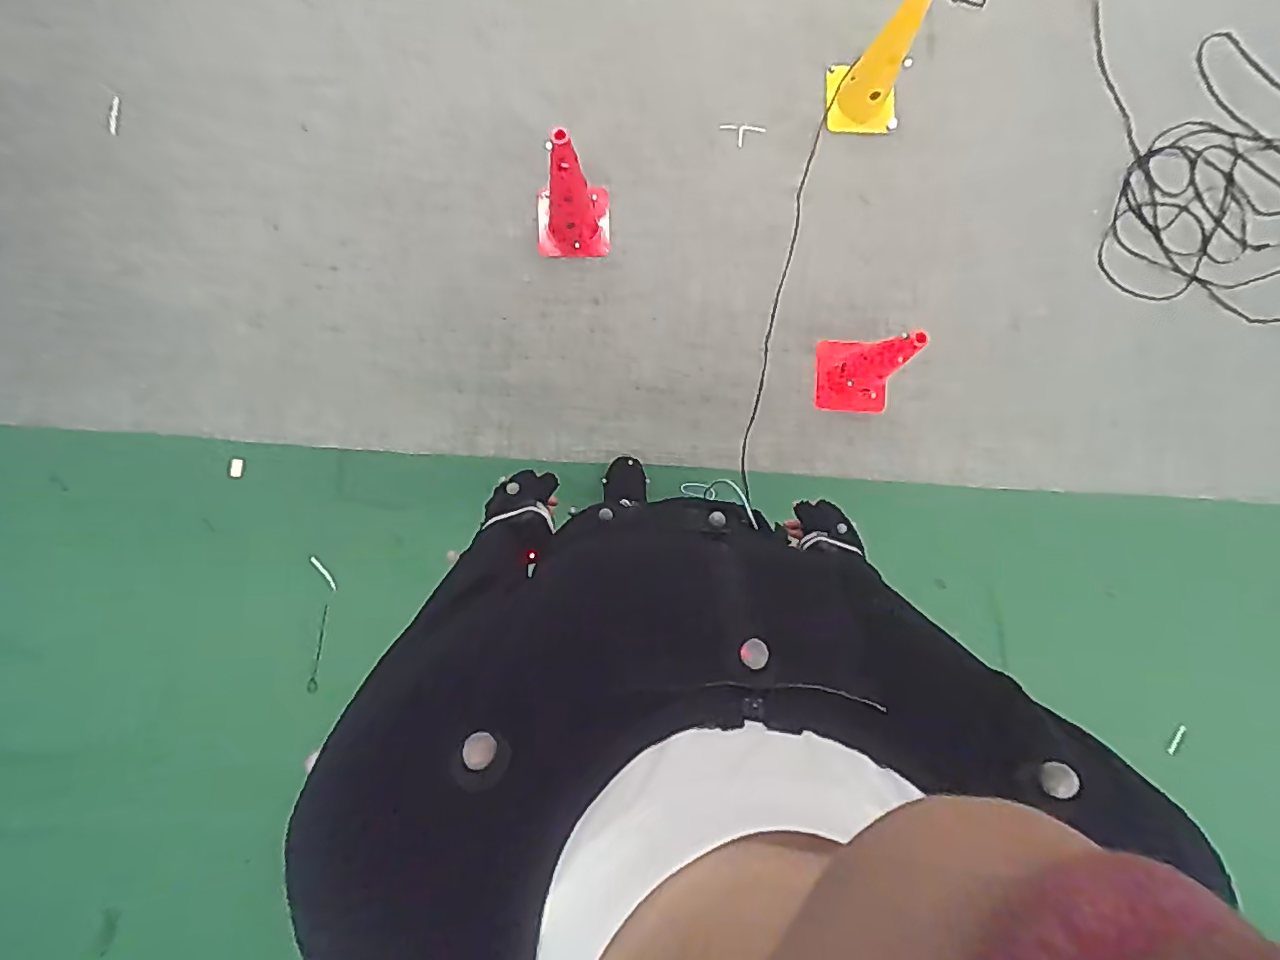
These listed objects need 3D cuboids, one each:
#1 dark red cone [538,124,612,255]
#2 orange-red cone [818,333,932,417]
[{"bbox_3d":[-0.172,-0.726,1.329,0.202,0.394,0.201,-2,88,-2],"label":"dark red cone"},{"bbox_3d":[0.609,-0.294,1.353,0.198,0.360,0.199,4,85,-3],"label":"orange-red cone"}]
